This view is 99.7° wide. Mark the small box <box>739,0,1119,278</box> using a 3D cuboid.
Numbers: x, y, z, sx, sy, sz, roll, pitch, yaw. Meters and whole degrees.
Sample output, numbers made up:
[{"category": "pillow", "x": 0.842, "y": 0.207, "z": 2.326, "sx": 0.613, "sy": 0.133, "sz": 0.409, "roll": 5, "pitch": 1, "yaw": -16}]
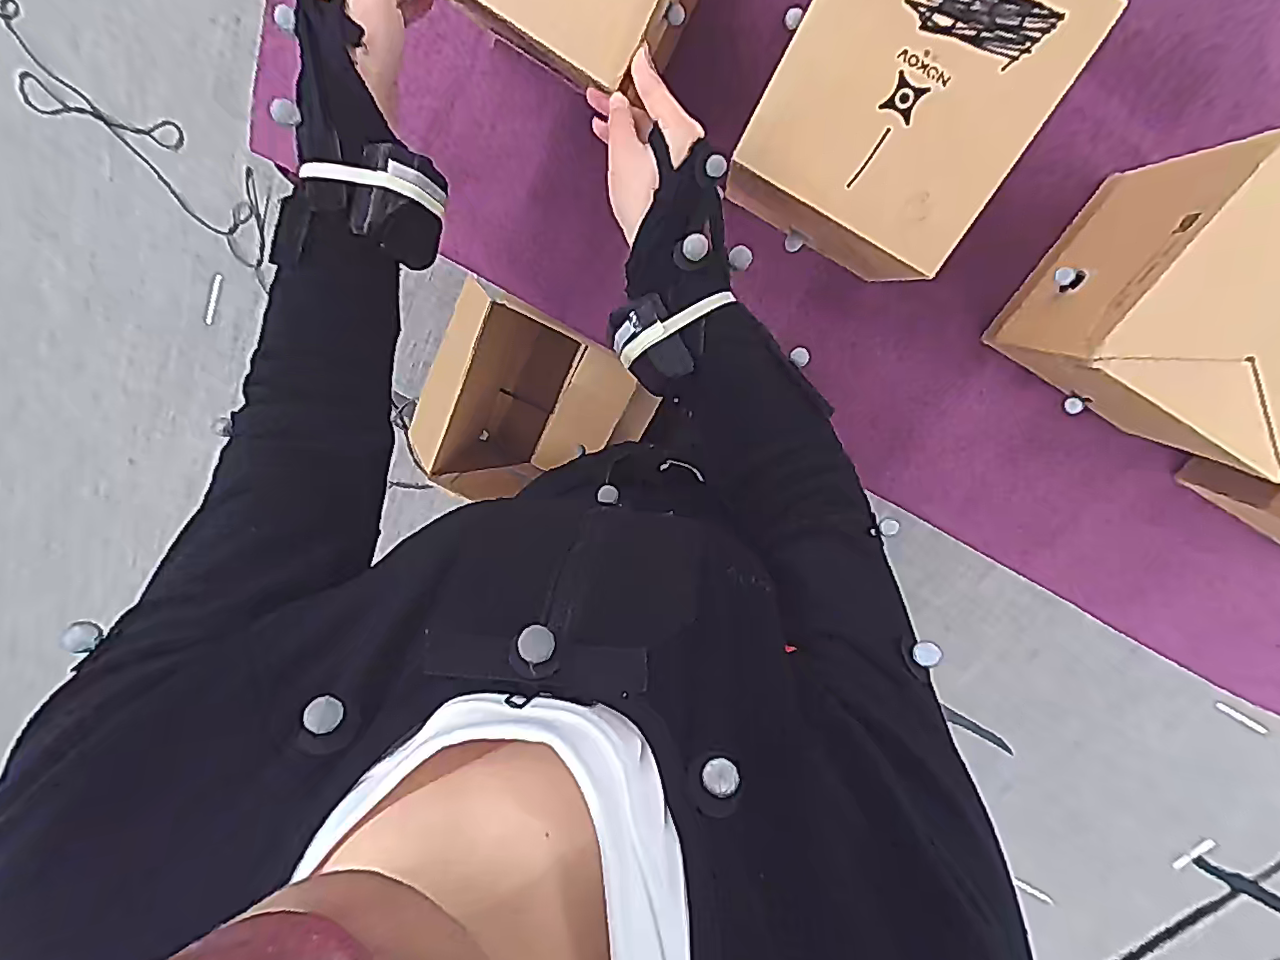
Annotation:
[{"category": "small box", "x": 0.188, "y": -0.279, "z": 0.422, "sx": 0.168, "sy": 0.176, "sz": 0.179, "roll": 29, "pitch": 111, "yaw": -3}]

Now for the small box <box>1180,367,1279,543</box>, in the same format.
[{"category": "small box", "x": 0.645, "y": -0.004, "z": 0.453, "sx": 0.179, "sy": 0.176, "sz": 0.168, "roll": 30, "pitch": 108, "yaw": -3}]
